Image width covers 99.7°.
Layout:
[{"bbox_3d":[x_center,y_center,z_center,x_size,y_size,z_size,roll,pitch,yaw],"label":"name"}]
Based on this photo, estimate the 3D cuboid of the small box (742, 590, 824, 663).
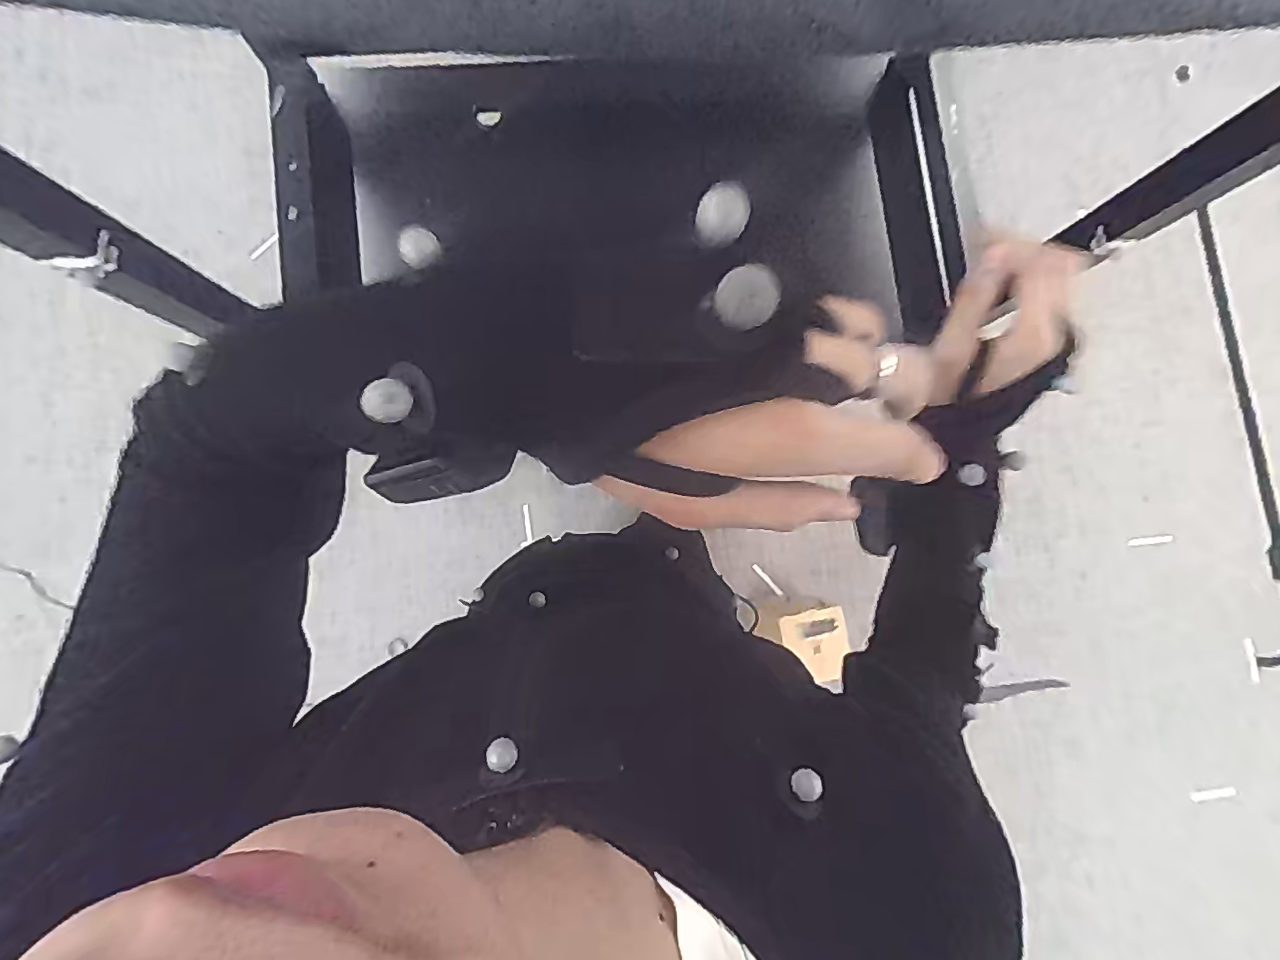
[{"bbox_3d":[0.412,0.422,1.580,0.179,0.176,0.168,-7,85,-4],"label":"small box"}]
